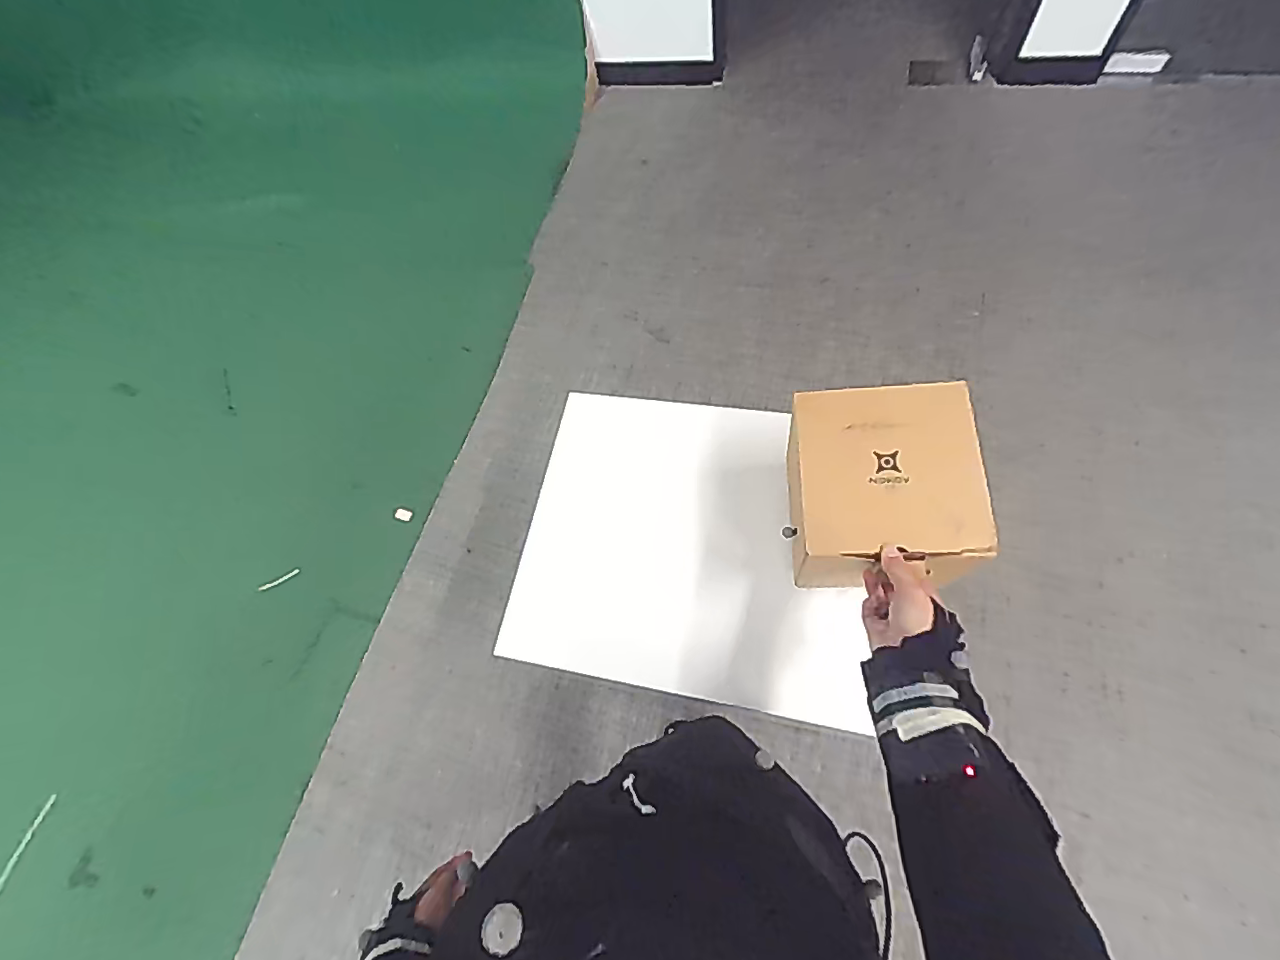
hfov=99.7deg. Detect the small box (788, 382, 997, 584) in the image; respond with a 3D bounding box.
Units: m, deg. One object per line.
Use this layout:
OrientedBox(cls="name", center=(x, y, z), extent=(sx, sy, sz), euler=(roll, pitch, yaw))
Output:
OrientedBox(cls="small box", center=(0.254, 0.015, 0.590), extent=(0.168, 0.176, 0.179), euler=(-2, 68, 11))
